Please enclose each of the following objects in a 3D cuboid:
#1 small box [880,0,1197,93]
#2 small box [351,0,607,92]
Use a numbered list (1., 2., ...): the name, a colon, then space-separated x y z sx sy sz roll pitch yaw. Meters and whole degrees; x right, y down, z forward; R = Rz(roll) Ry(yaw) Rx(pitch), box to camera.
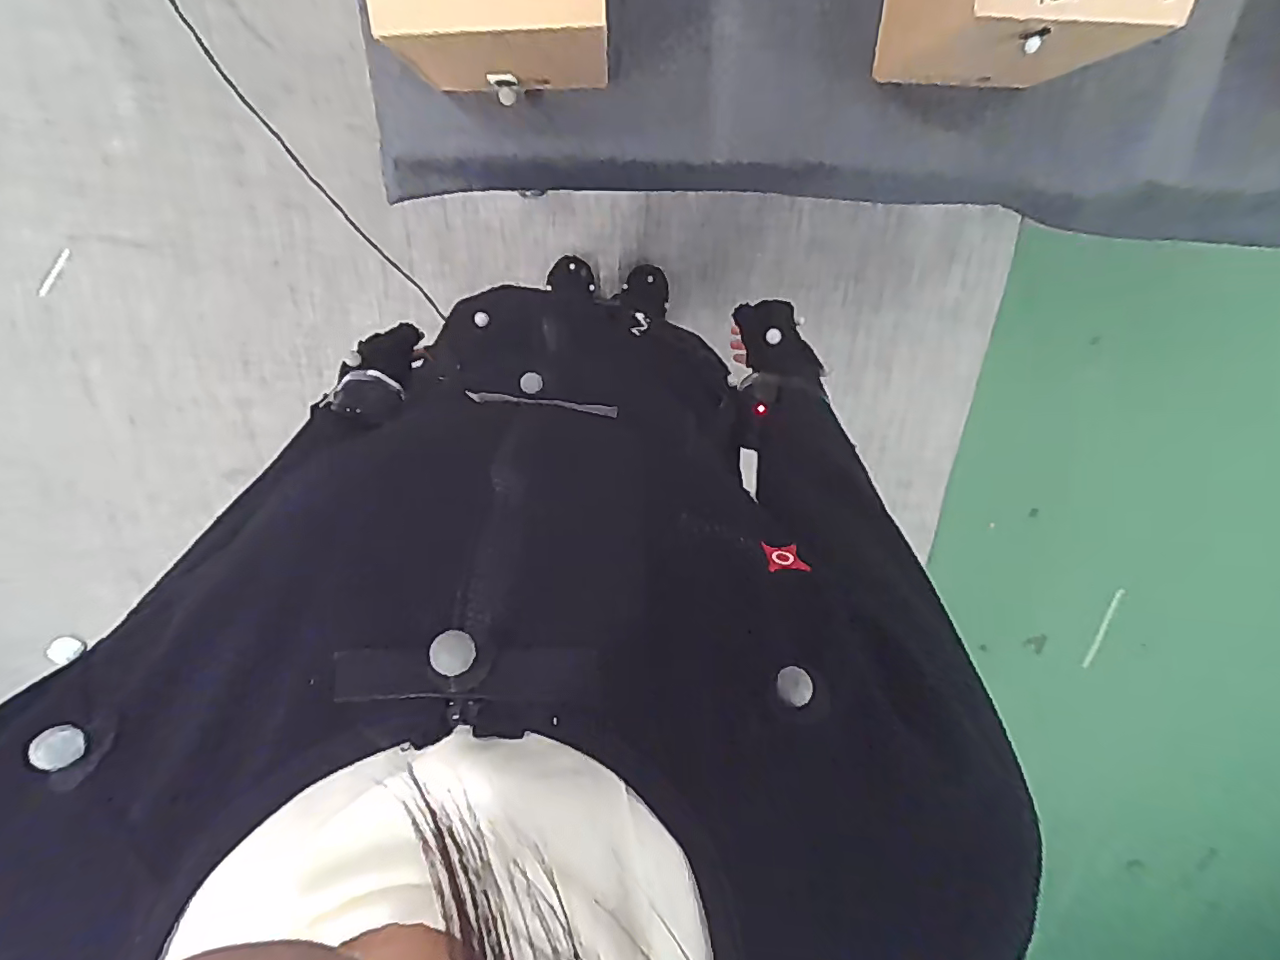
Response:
1. small box: 0.317 -0.442 0.432 0.168 0.176 0.179 0 112 -3
2. small box: -0.110 -0.415 0.400 0.168 0.176 0.179 -1 114 -1
